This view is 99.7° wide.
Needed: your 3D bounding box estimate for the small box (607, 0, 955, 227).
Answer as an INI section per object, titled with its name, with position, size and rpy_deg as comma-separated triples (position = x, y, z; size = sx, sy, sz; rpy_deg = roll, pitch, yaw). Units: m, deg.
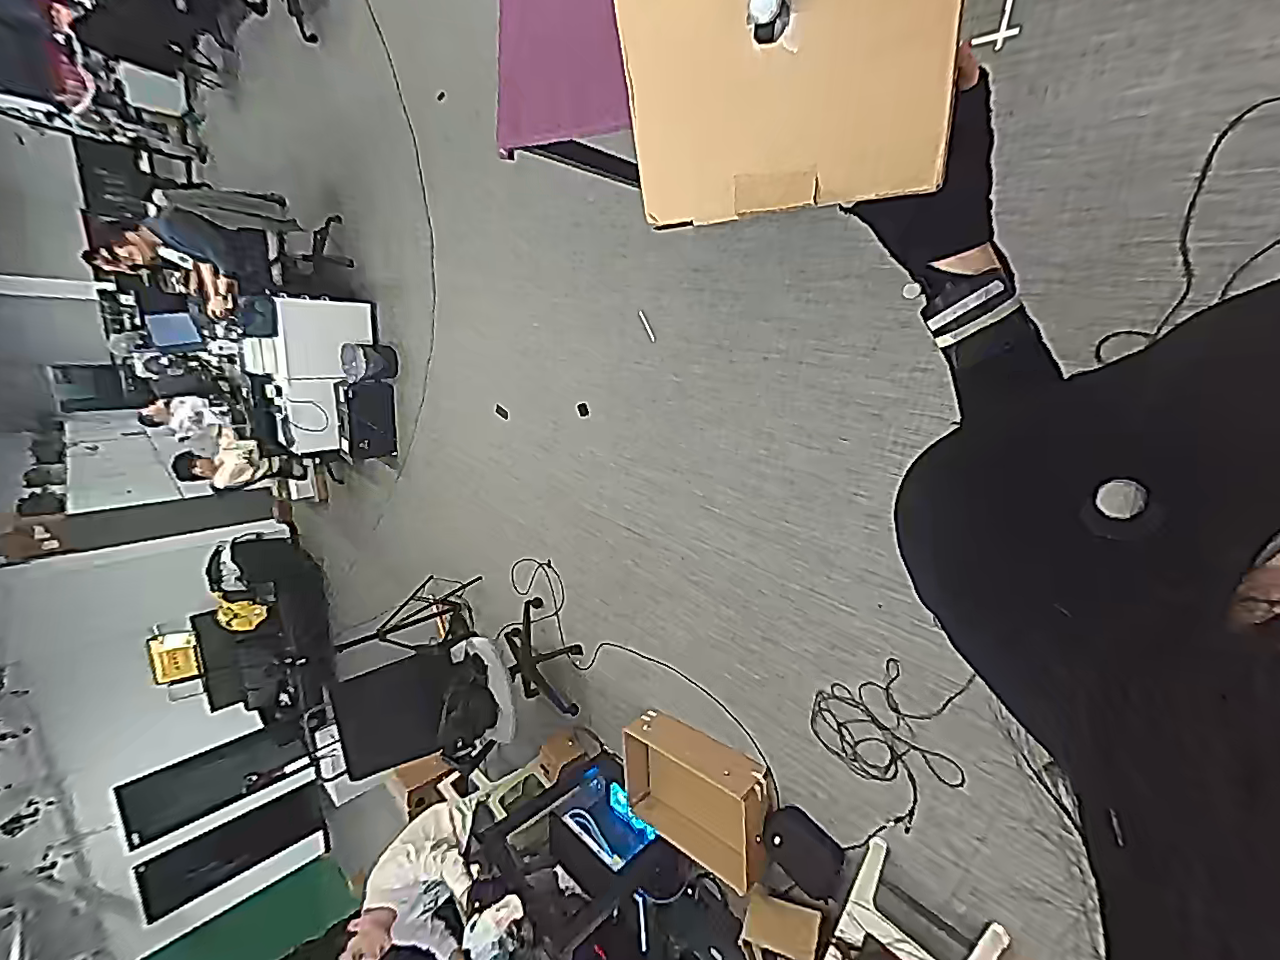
[small box]
position = 0.089, -0.264, 0.314
size = 0.168, 0.179, 0.176
rpy_deg = 6, 126, 27
